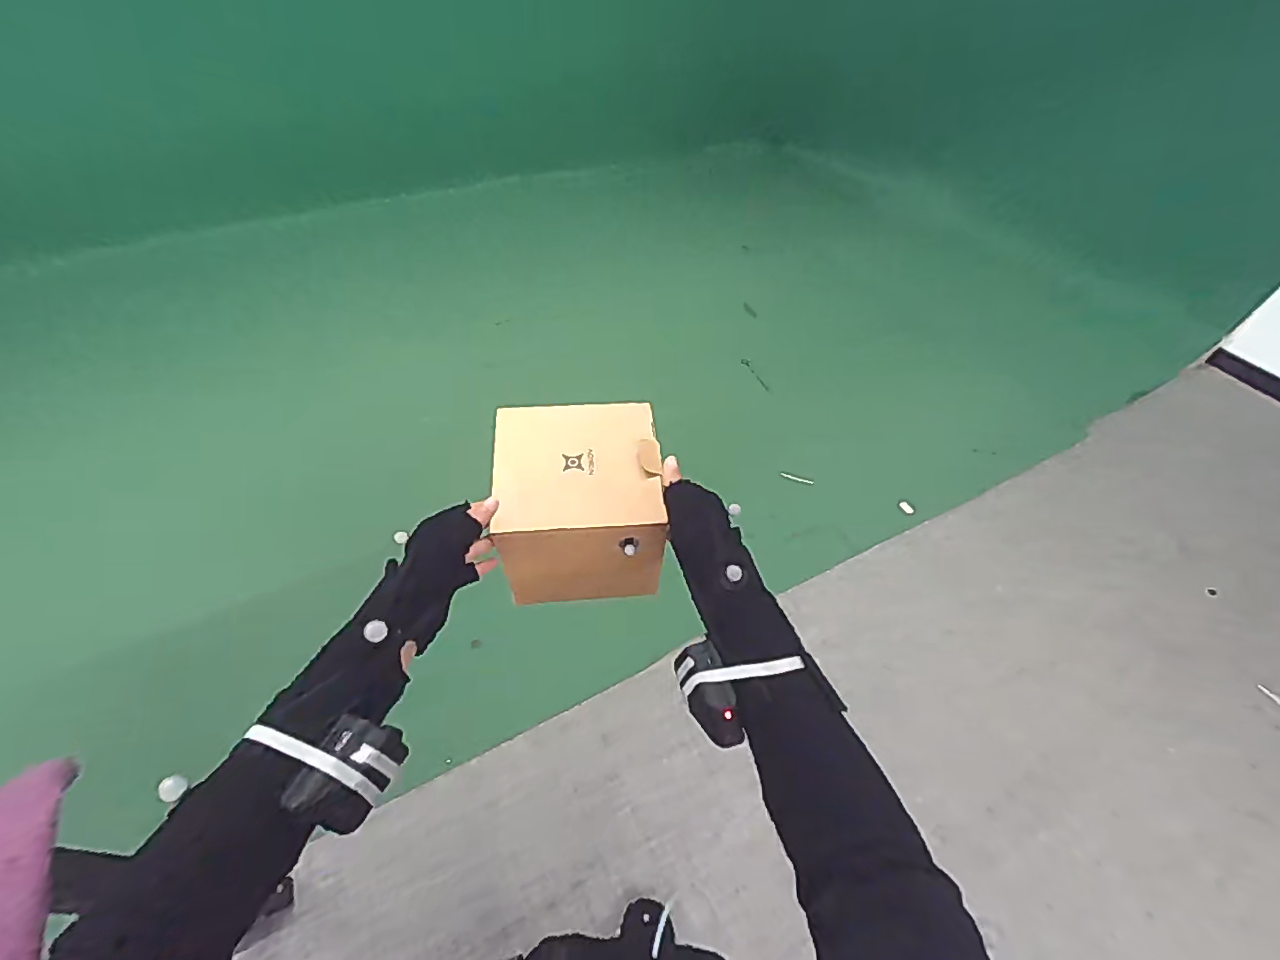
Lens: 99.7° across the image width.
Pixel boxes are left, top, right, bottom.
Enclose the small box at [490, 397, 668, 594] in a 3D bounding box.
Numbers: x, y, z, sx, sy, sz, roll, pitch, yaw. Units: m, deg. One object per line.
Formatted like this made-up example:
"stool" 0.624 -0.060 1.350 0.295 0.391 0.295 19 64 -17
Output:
"small box" -0.069 0.023 0.632 0.179 0.176 0.168 -3 54 -6
